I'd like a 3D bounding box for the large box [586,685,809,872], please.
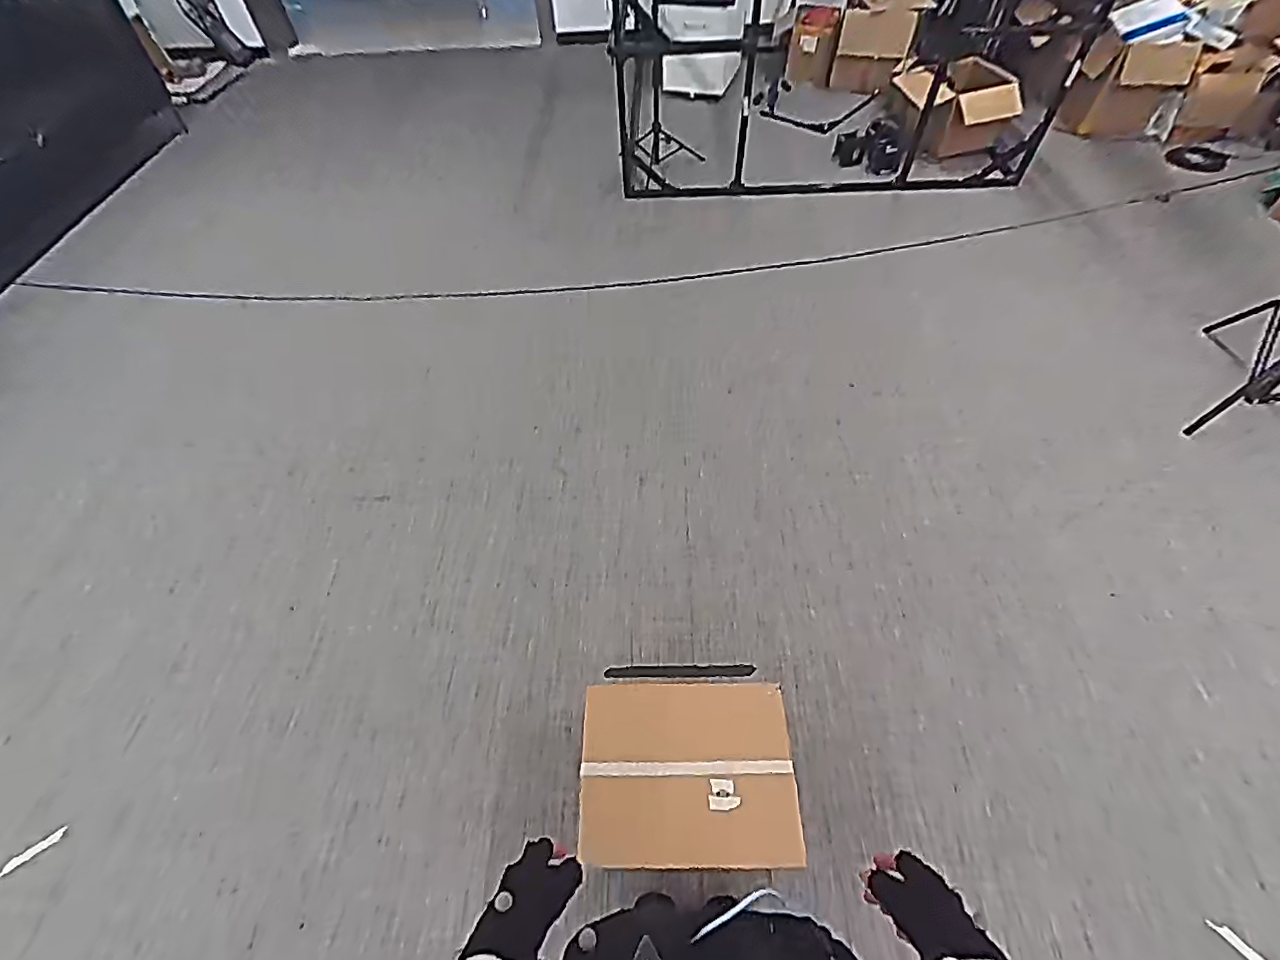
[{"bbox_3d":[0.102,0.645,1.158,0.408,0.320,0.320,-1,54,2],"label":"large box"}]
